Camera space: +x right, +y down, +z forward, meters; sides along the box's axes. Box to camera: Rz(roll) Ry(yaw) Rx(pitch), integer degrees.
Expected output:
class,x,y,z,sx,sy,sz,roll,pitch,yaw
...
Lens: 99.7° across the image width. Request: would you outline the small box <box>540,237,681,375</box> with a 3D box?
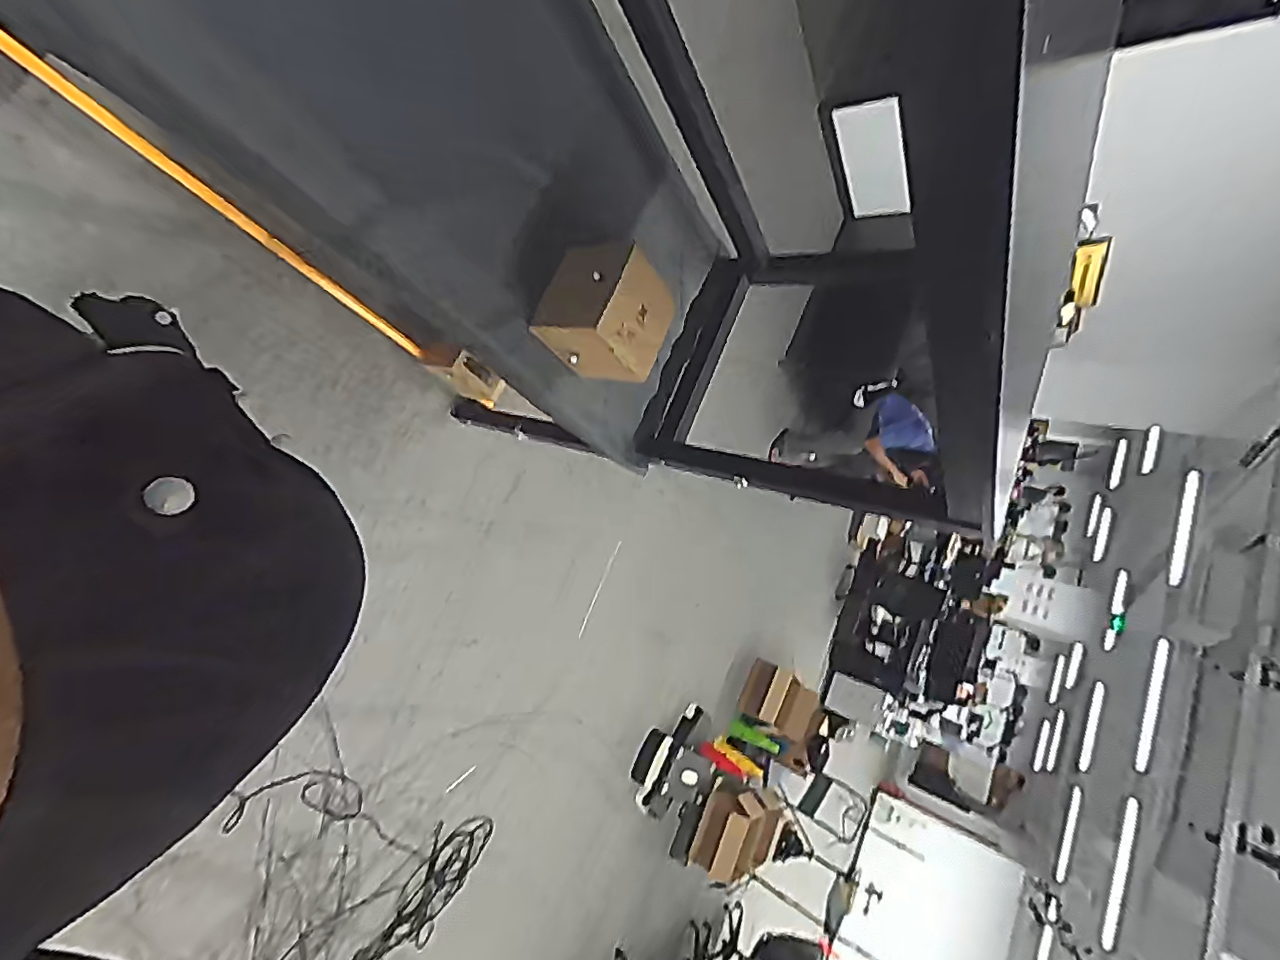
class,x,y,z,sx,sy,sz,roll,pitch,yaw
small box,-0.055,-0.315,0.994,0.168,0.176,0.179,39,70,-50
